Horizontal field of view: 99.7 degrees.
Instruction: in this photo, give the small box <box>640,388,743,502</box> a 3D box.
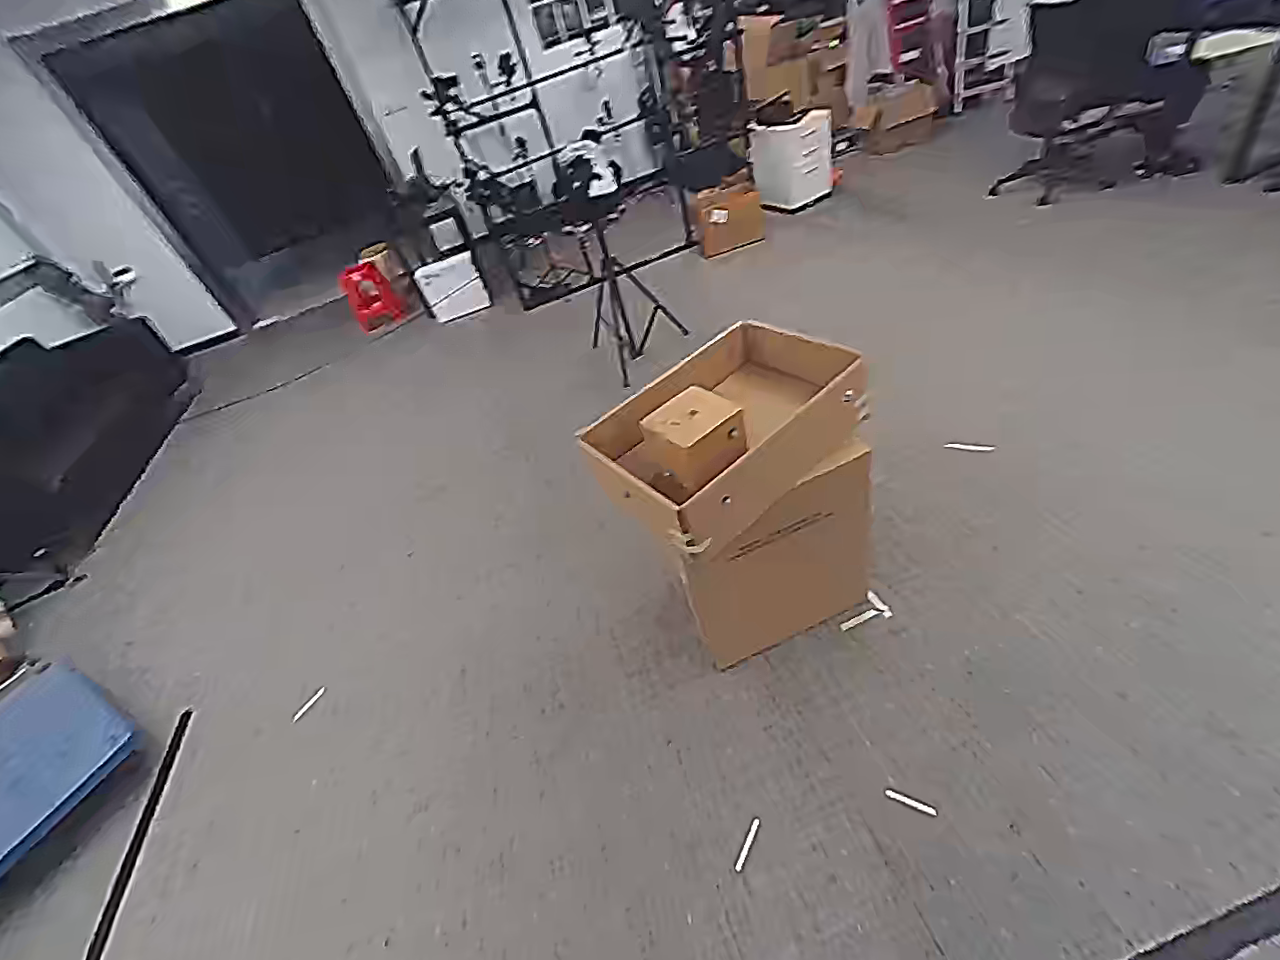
[{"bbox_3d":[0.128,-0.083,1.271,0.179,0.176,0.168,-36,44,-20],"label":"small box"}]
